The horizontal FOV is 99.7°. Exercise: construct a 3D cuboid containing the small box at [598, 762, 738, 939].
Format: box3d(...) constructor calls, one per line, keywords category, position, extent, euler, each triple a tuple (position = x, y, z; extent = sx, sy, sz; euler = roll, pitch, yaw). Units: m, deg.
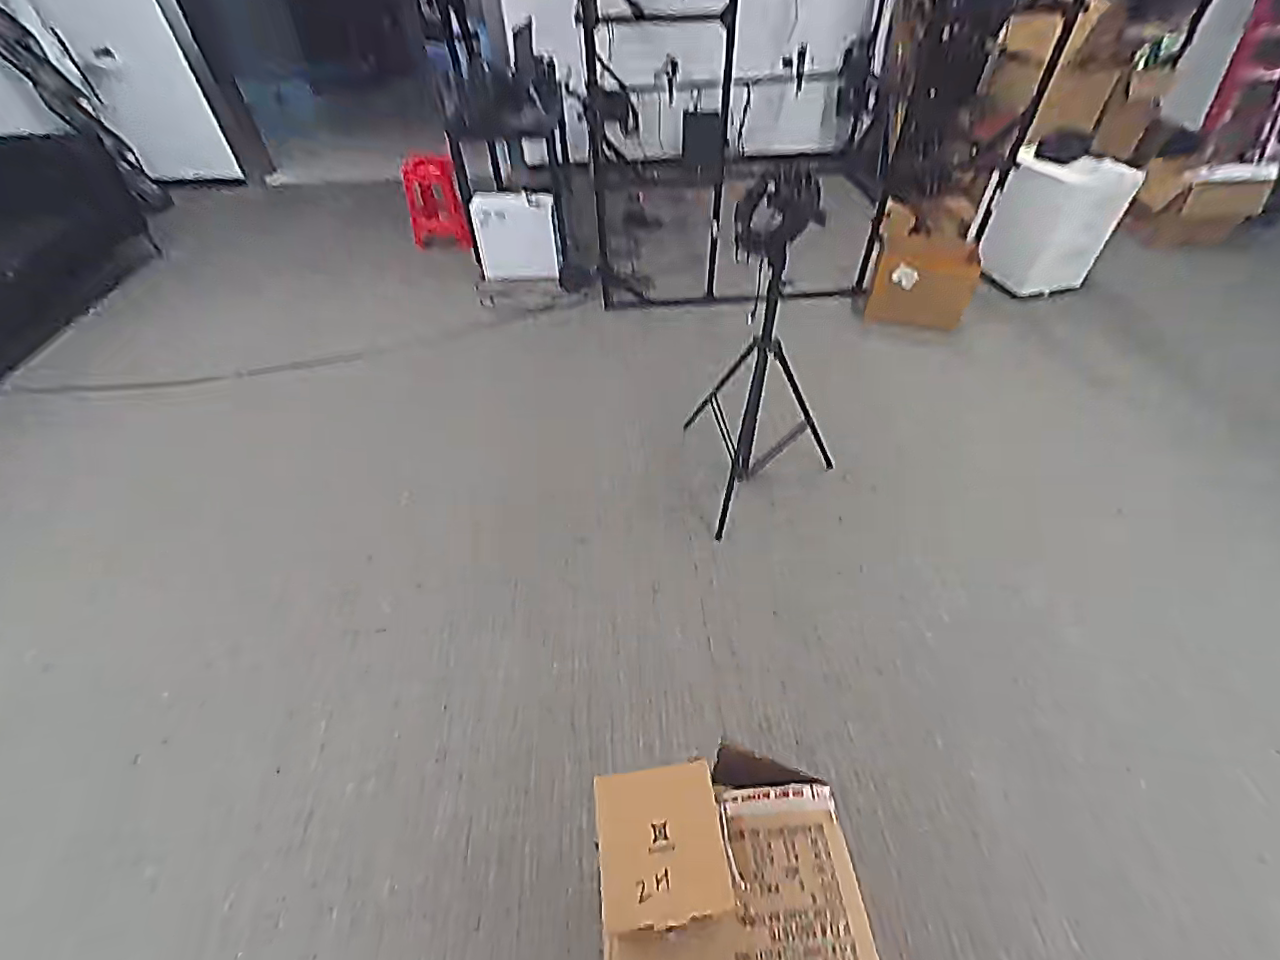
box3d(category="small box", position=(0.033, 0.530, 0.772), extent=(0.168, 0.176, 0.179), euler=(-8, 49, -3))
